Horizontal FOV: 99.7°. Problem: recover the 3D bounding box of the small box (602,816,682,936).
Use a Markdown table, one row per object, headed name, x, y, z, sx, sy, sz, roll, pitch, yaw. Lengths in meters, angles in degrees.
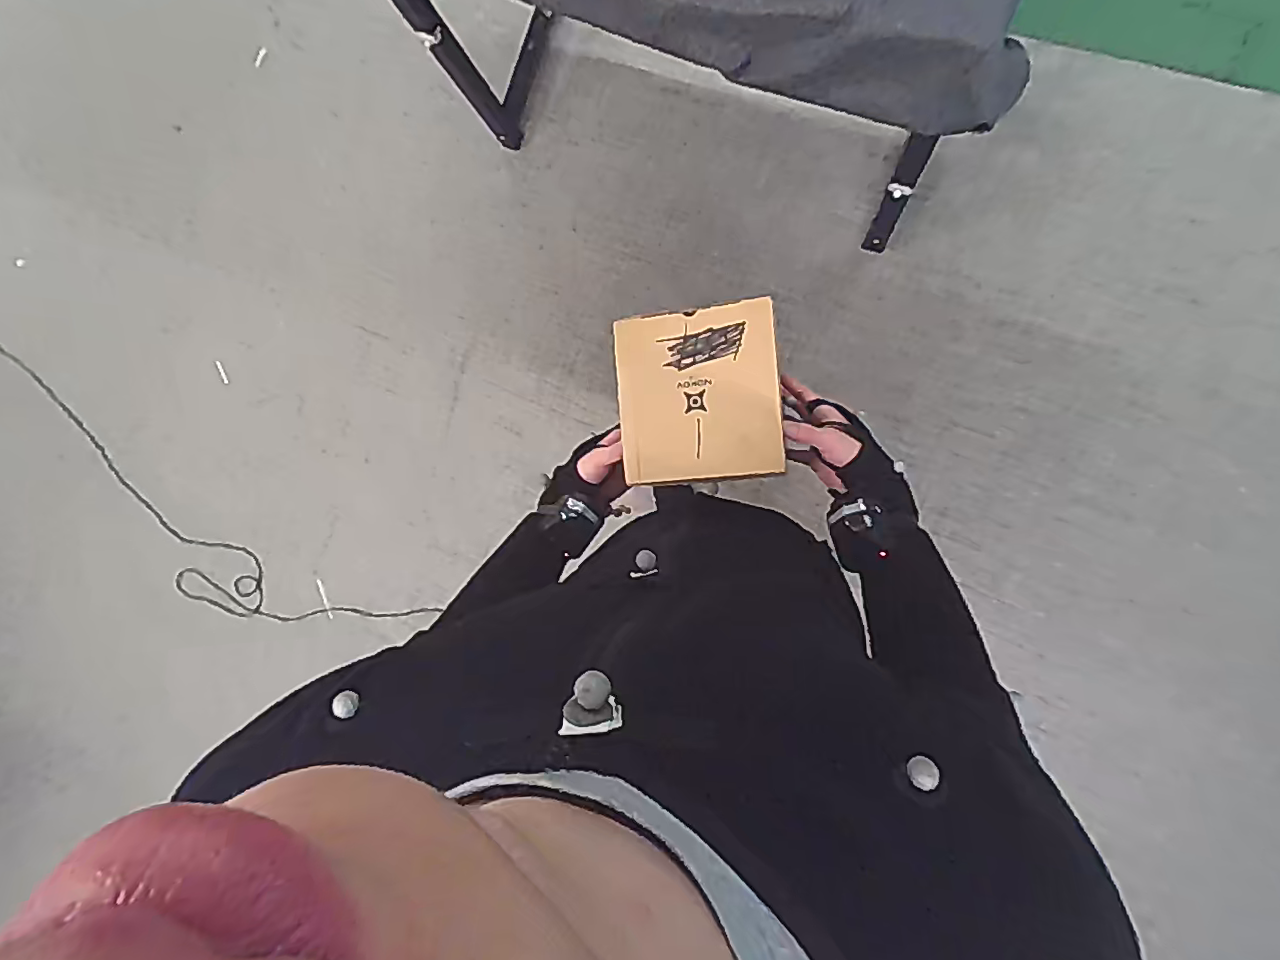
| name | x | y | z | sx | sy | sz | roll | pitch | yaw |
| --- | --- | --- | --- | --- | --- | --- | --- | --- | --- |
| small box | 0.012 | 1.101 | 1.518 | 0.168 | 0.176 | 0.179 | 19 | 93 | 9 |
